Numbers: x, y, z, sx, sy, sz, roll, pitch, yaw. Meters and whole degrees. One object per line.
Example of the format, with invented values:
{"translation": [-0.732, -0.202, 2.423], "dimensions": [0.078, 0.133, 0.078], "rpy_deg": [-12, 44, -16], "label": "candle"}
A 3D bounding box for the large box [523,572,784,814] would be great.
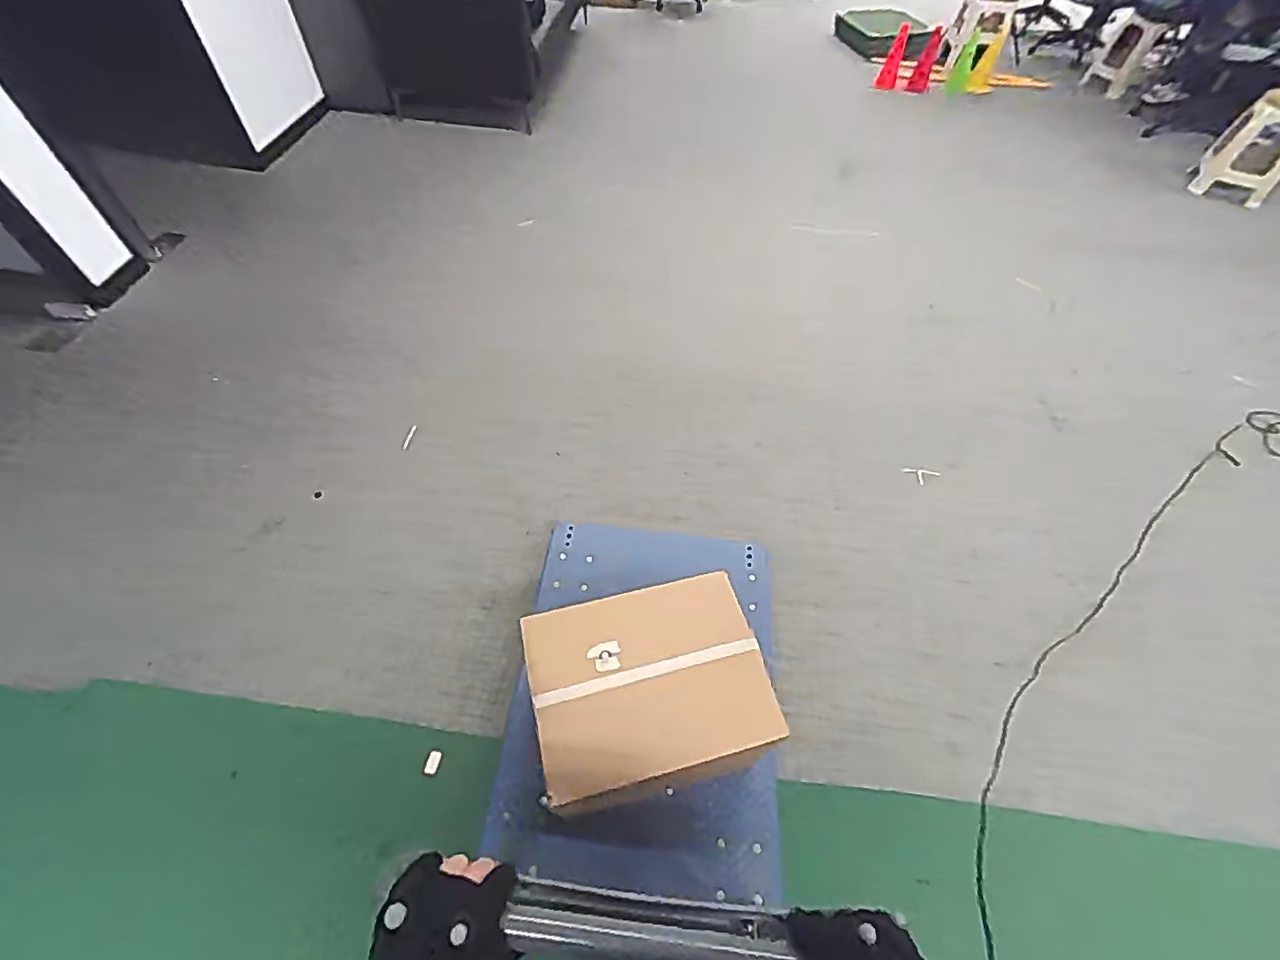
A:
{"translation": [0.011, 0.426, 1.072], "dimensions": [0.408, 0.320, 0.320], "rpy_deg": [-12, 55, -10], "label": "large box"}
